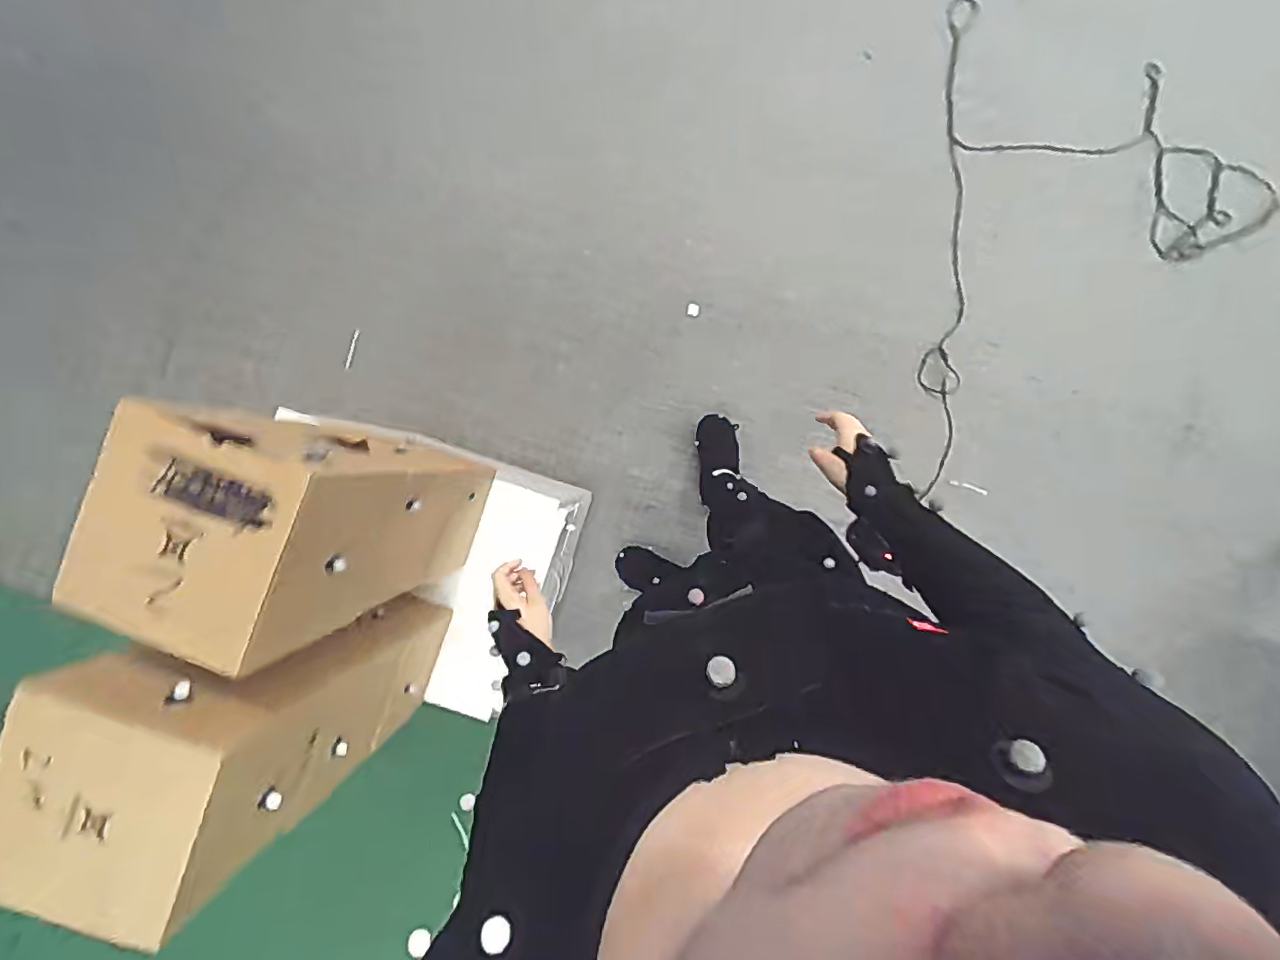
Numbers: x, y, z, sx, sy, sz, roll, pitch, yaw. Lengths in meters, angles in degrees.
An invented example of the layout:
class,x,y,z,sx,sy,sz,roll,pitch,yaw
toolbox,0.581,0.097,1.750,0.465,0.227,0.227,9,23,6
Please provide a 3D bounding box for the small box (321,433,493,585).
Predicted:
class,x,y,z,sx,sy,sz,roll,pitch,yaw
small box,-0.341,0.037,0.830,0.168,0.176,0.179,18,93,2

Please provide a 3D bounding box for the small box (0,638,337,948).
class,x,y,z,sx,sy,sz,roll,pitch,yaw
small box,-0.425,0.266,0.504,0.179,0.176,0.168,18,88,0

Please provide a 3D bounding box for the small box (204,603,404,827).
class,x,y,z,sx,sy,sz,roll,pitch,yaw
small box,-0.421,0.272,0.668,0.168,0.176,0.179,18,89,0

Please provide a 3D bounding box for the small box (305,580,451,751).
class,x,y,z,sx,sy,sz,roll,pitch,yaw
small box,-0.415,0.272,0.834,0.168,0.176,0.179,19,90,0
